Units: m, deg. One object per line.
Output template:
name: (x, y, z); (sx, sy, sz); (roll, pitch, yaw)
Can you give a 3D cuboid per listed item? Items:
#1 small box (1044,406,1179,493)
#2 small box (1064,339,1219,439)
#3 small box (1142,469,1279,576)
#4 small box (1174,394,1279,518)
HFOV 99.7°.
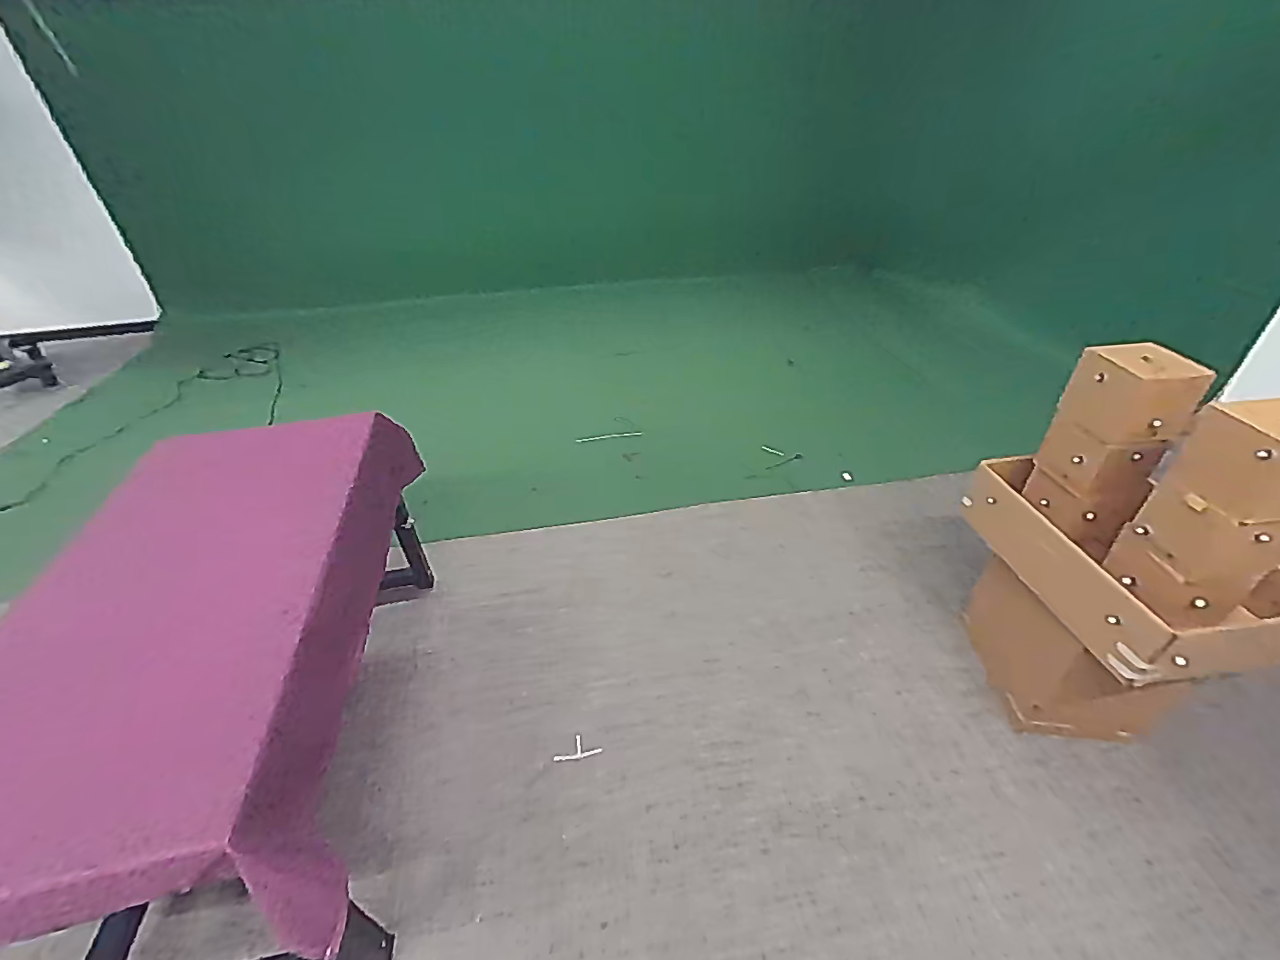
small box: (1.167, -0.082, 1.361); (0.179, 0.176, 0.168); (-6, 37, -4)
small box: (1.150, -0.213, 1.262); (0.168, 0.176, 0.179); (-5, 37, -1)
small box: (1.217, 0.084, 1.133); (0.179, 0.176, 0.168); (-5, 36, -2)
small box: (1.210, -0.049, 1.040); (0.168, 0.176, 0.179); (-6, 37, -3)
